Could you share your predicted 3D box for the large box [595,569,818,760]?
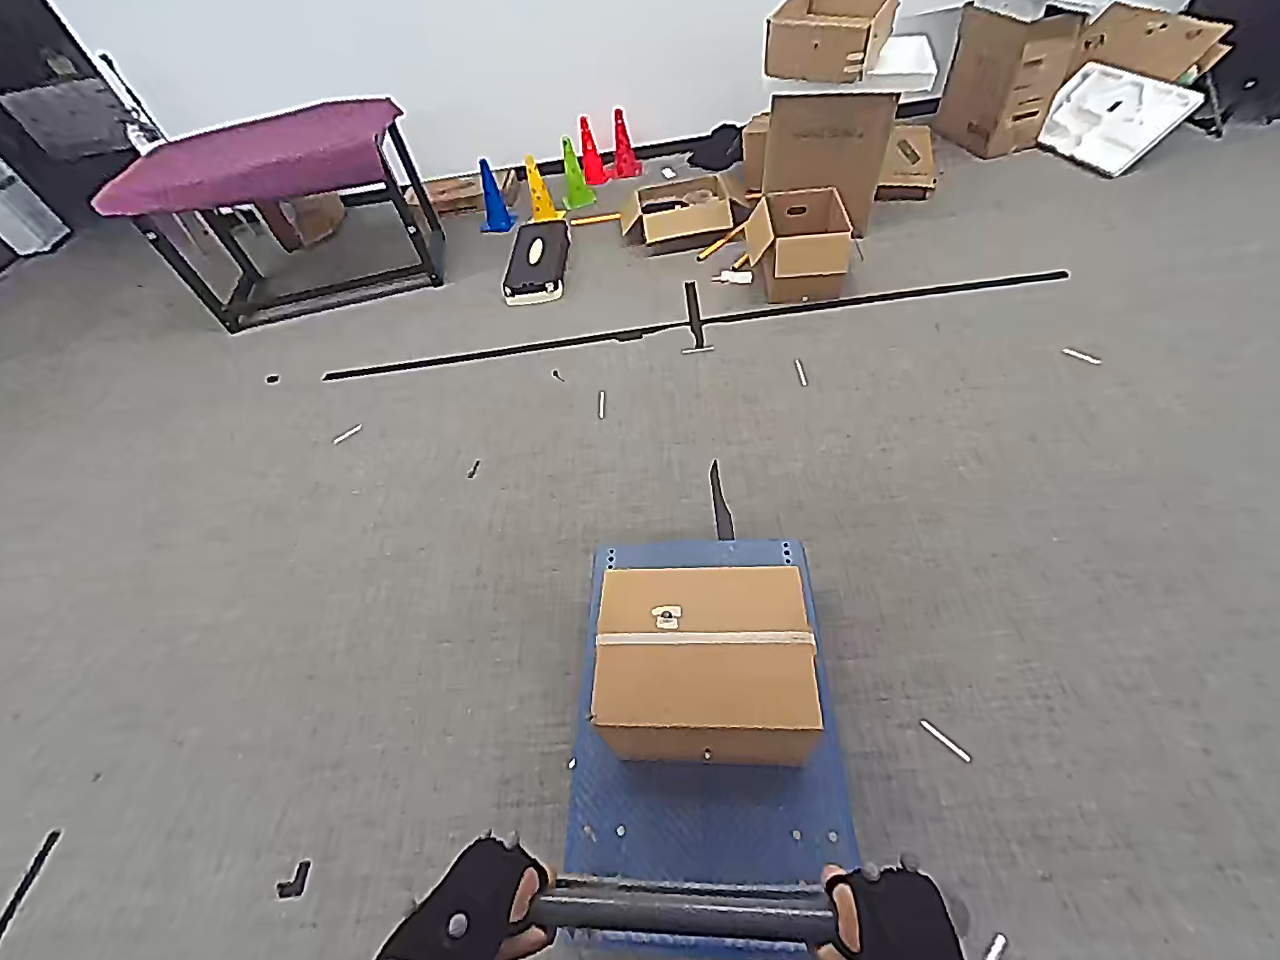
[{"bbox_3d":[0.140,0.408,1.166,0.408,0.320,0.320,-4,51,8],"label":"large box"}]
